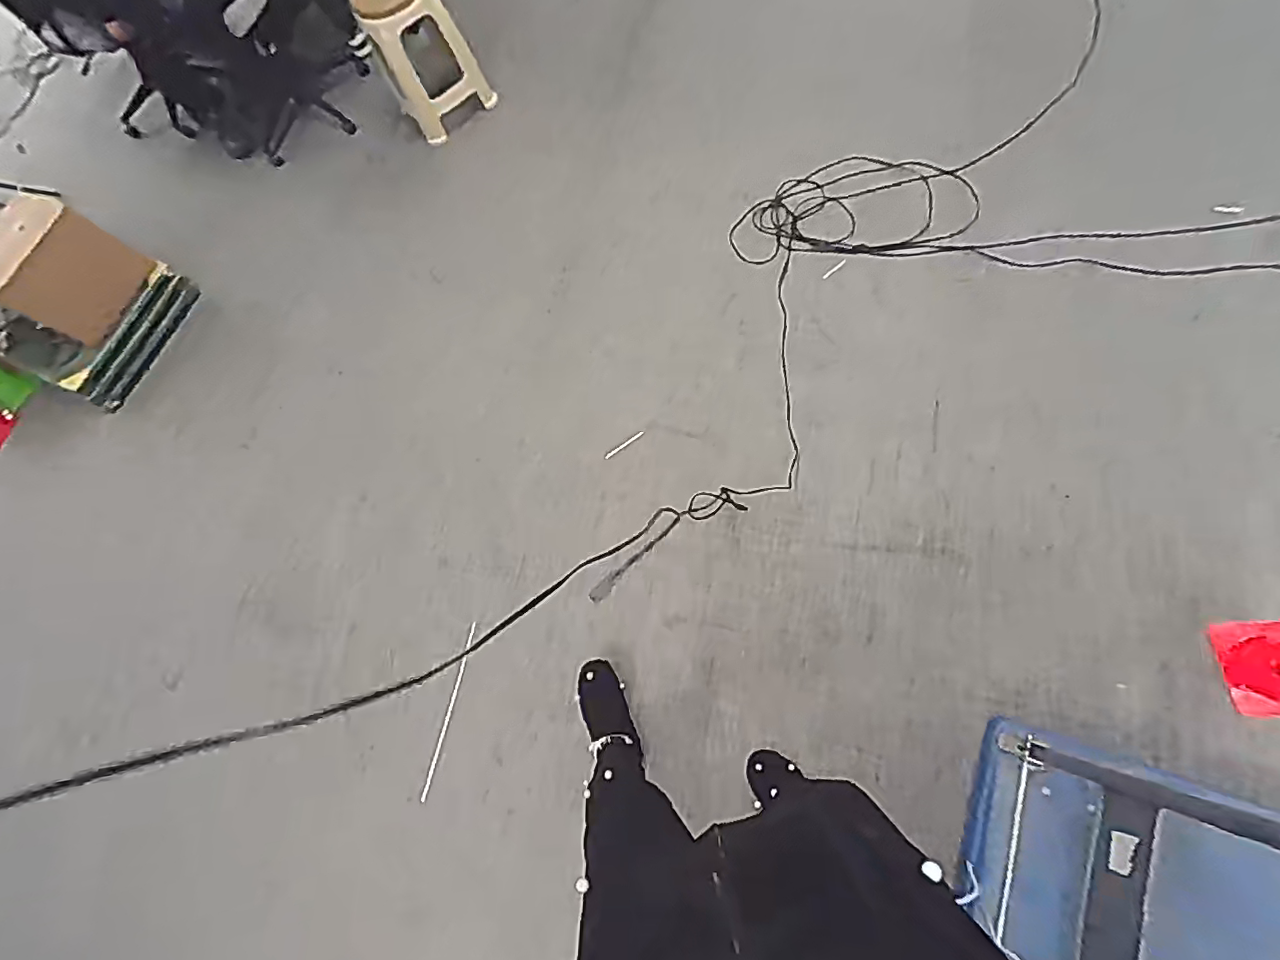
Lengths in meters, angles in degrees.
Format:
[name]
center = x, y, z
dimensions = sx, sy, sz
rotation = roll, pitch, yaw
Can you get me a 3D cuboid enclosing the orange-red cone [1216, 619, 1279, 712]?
[orange-red cone]
center = 1.383, 0.355, 1.039
dimensions = 0.198, 0.360, 0.199
rotation = -5, 70, 9
